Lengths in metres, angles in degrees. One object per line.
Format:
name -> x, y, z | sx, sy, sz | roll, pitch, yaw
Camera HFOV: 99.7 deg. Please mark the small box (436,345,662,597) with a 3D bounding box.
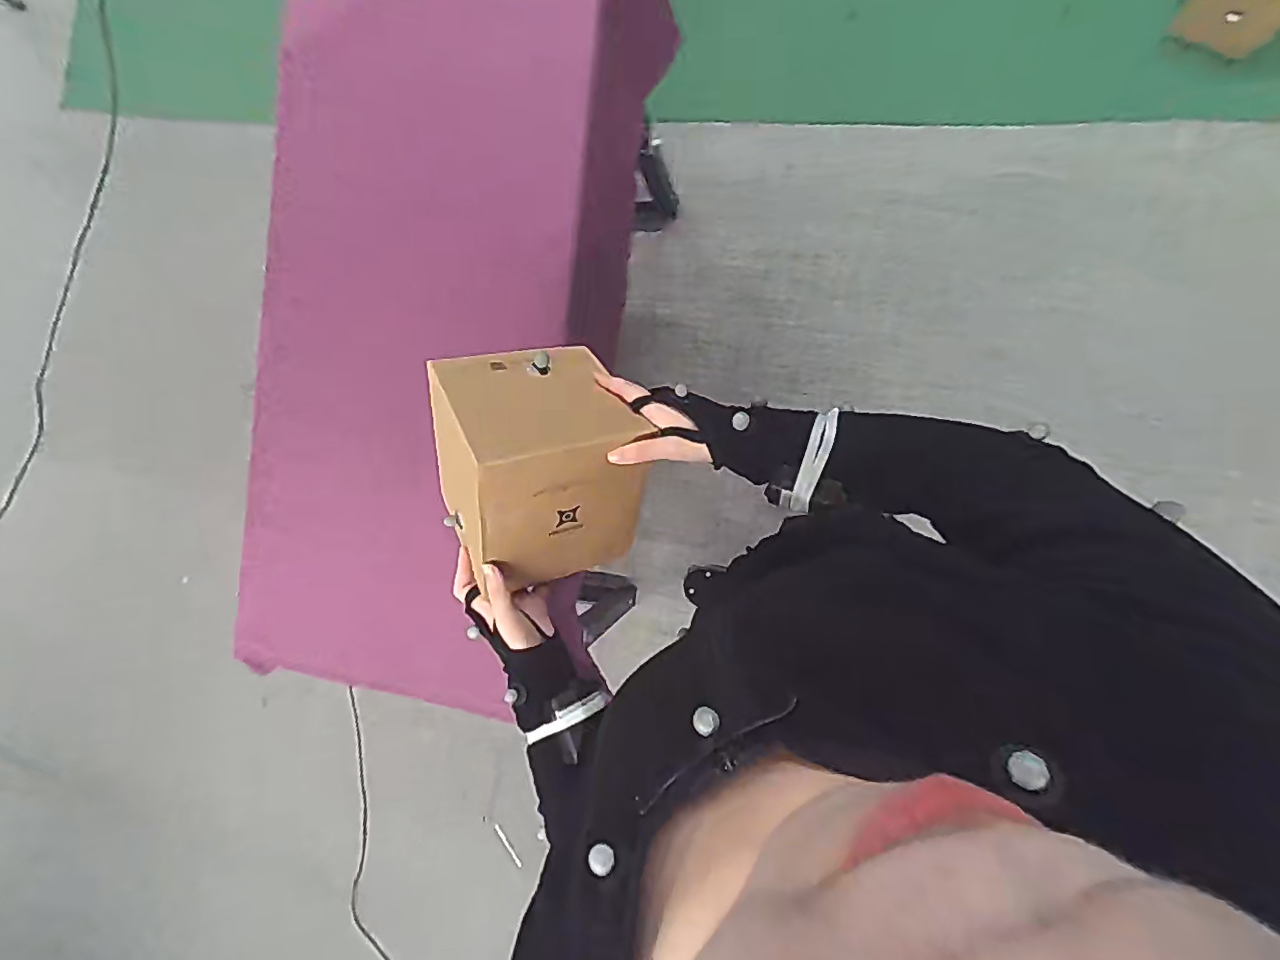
small box -> -0.102, -0.016, 0.553 | 0.176, 0.168, 0.179 | 54, 145, 38
